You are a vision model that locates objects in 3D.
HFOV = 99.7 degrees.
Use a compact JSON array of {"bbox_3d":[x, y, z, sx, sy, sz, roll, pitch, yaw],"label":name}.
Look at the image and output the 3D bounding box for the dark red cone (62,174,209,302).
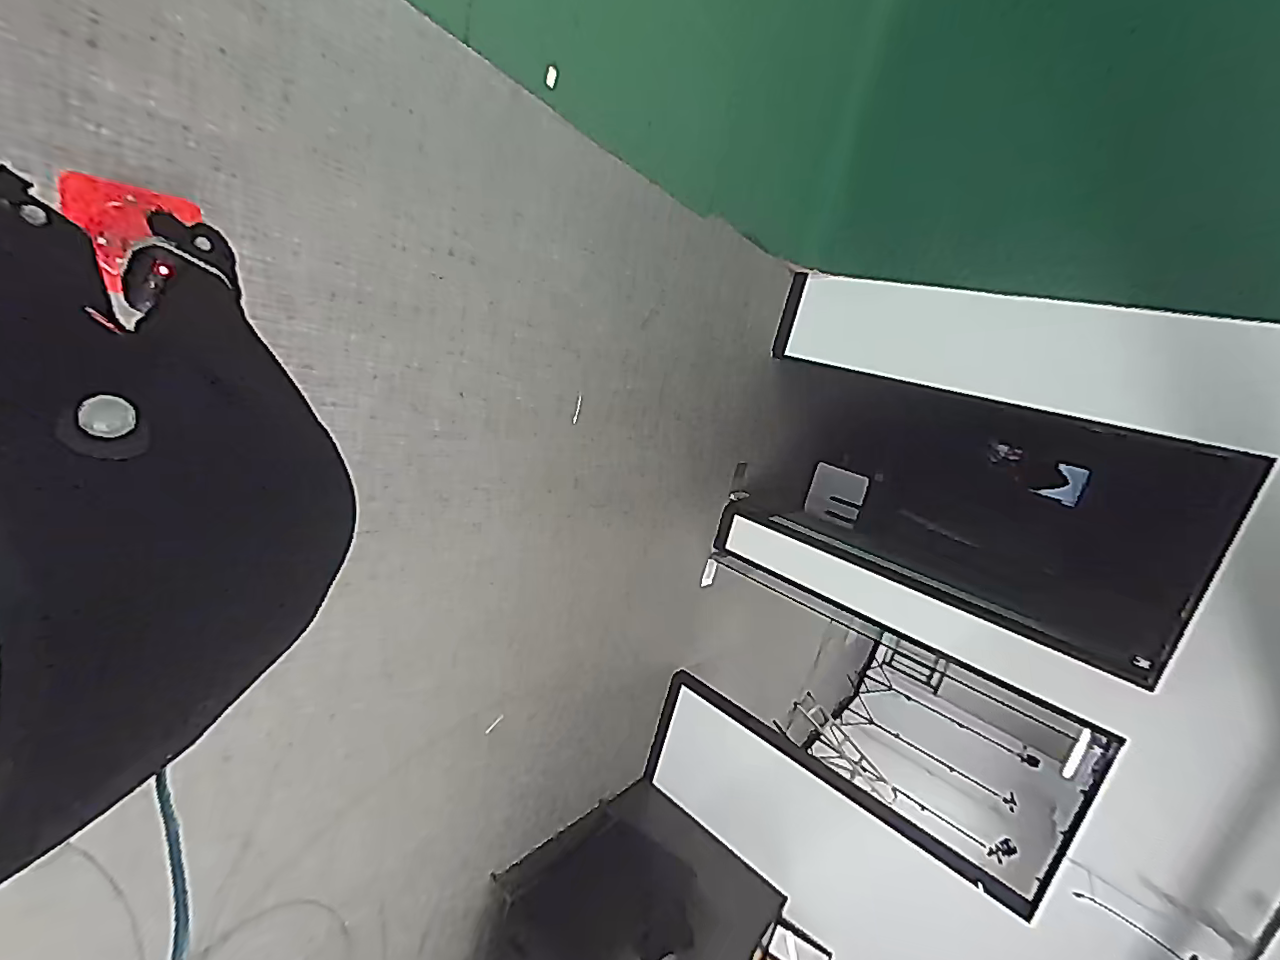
[{"bbox_3d":[-0.827,-0.400,0.932,0.202,0.394,0.201,-9,115,-50],"label":"dark red cone"}]
